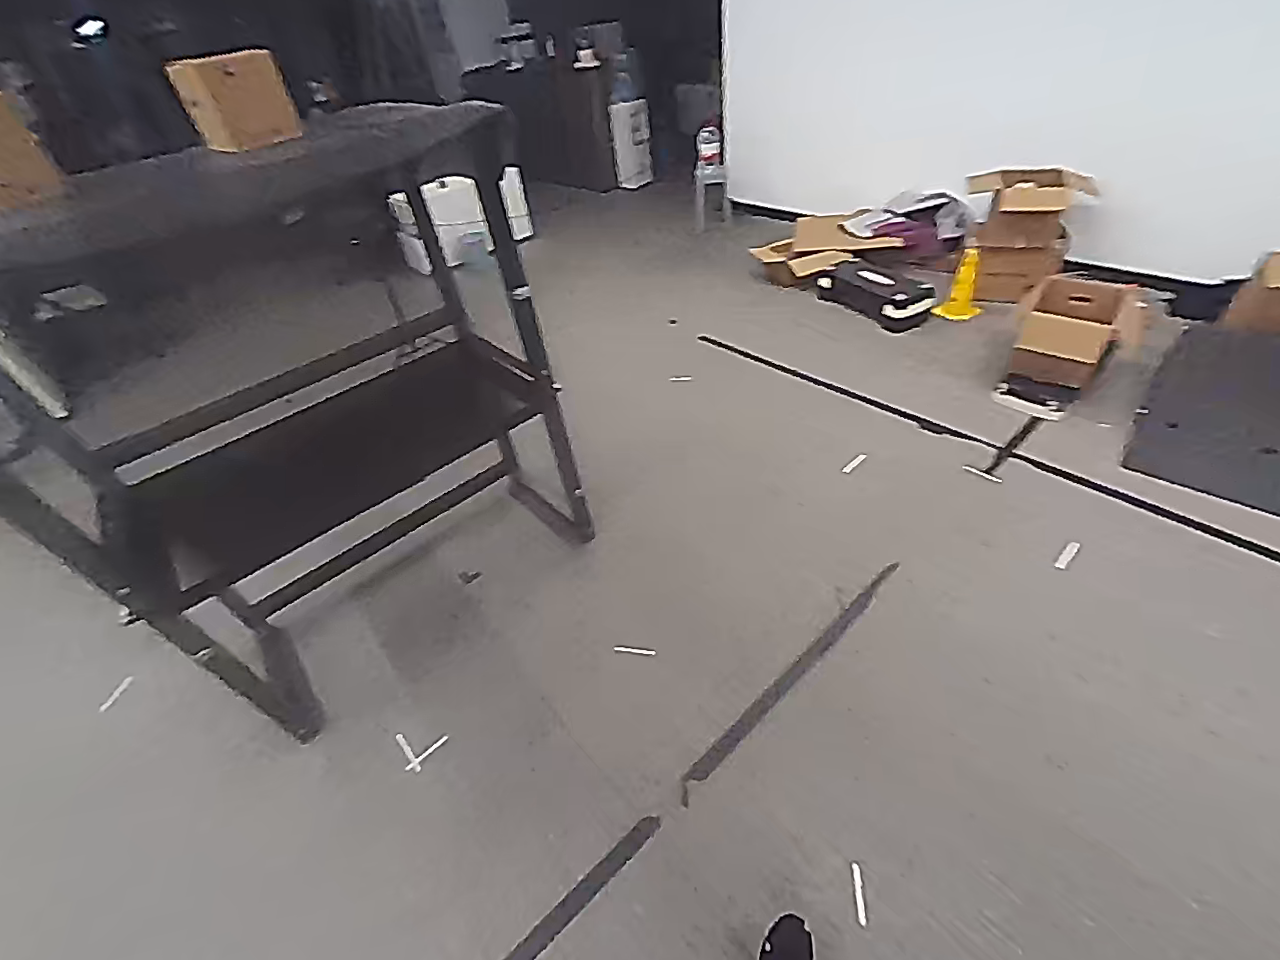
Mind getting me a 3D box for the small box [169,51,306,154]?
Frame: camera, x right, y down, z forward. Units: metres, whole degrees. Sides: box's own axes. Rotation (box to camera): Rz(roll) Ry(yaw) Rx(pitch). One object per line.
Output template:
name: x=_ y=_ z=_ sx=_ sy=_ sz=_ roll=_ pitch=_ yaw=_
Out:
small box: x=-0.924 y=-0.870 z=1.251 sx=0.179 sy=0.176 sz=0.168 roll=24 pitch=52 yaw=32
